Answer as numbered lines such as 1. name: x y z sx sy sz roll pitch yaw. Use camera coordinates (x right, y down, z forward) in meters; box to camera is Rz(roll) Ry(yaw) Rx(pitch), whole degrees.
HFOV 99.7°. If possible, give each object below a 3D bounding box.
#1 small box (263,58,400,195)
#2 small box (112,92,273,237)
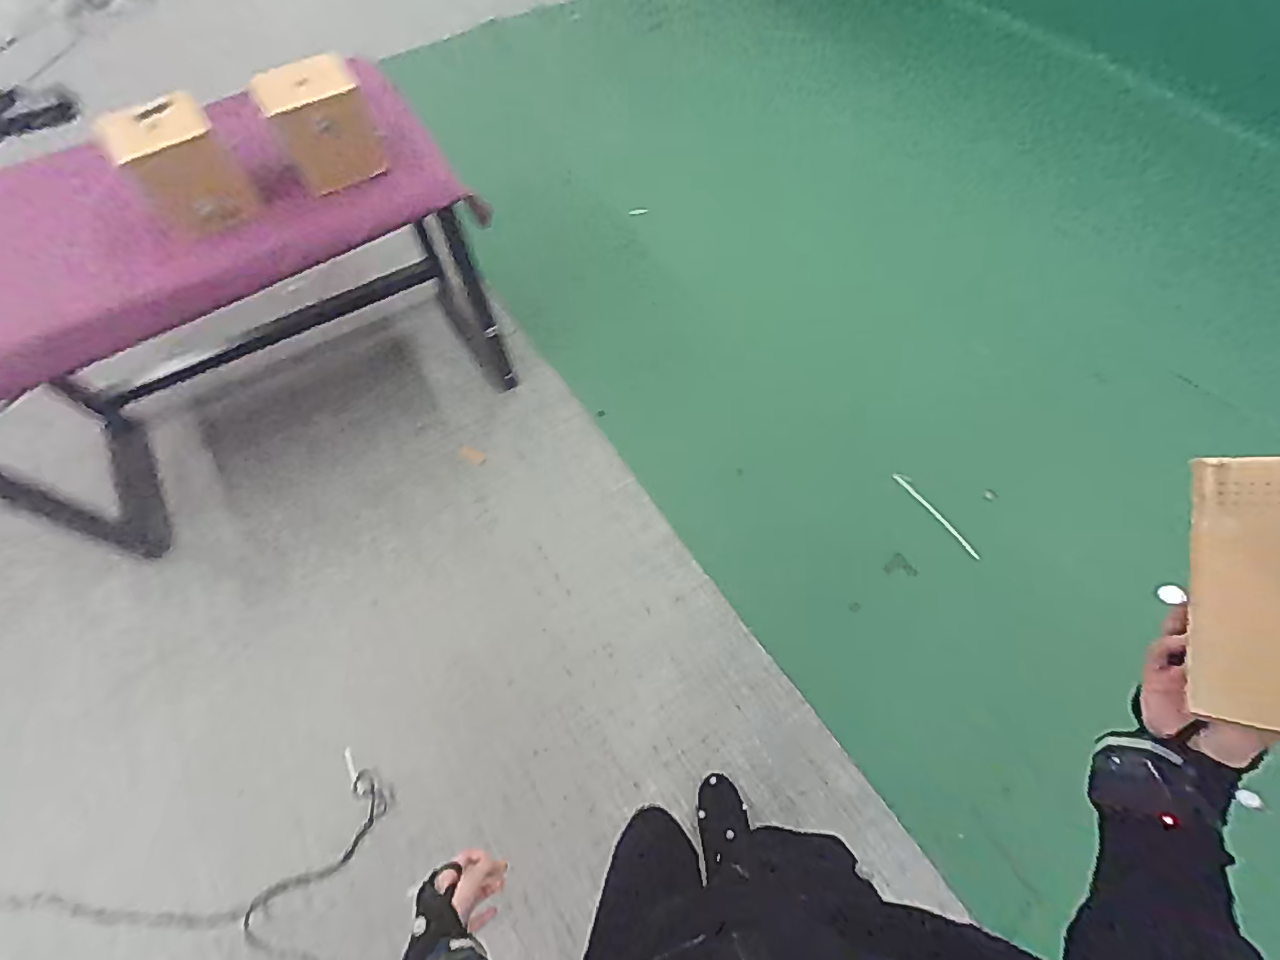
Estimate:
1. small box: -0.637 -0.733 1.131 0.179 0.176 0.168 -27 64 -13
2. small box: -0.879 -0.622 1.075 0.168 0.176 0.179 -33 66 -15
